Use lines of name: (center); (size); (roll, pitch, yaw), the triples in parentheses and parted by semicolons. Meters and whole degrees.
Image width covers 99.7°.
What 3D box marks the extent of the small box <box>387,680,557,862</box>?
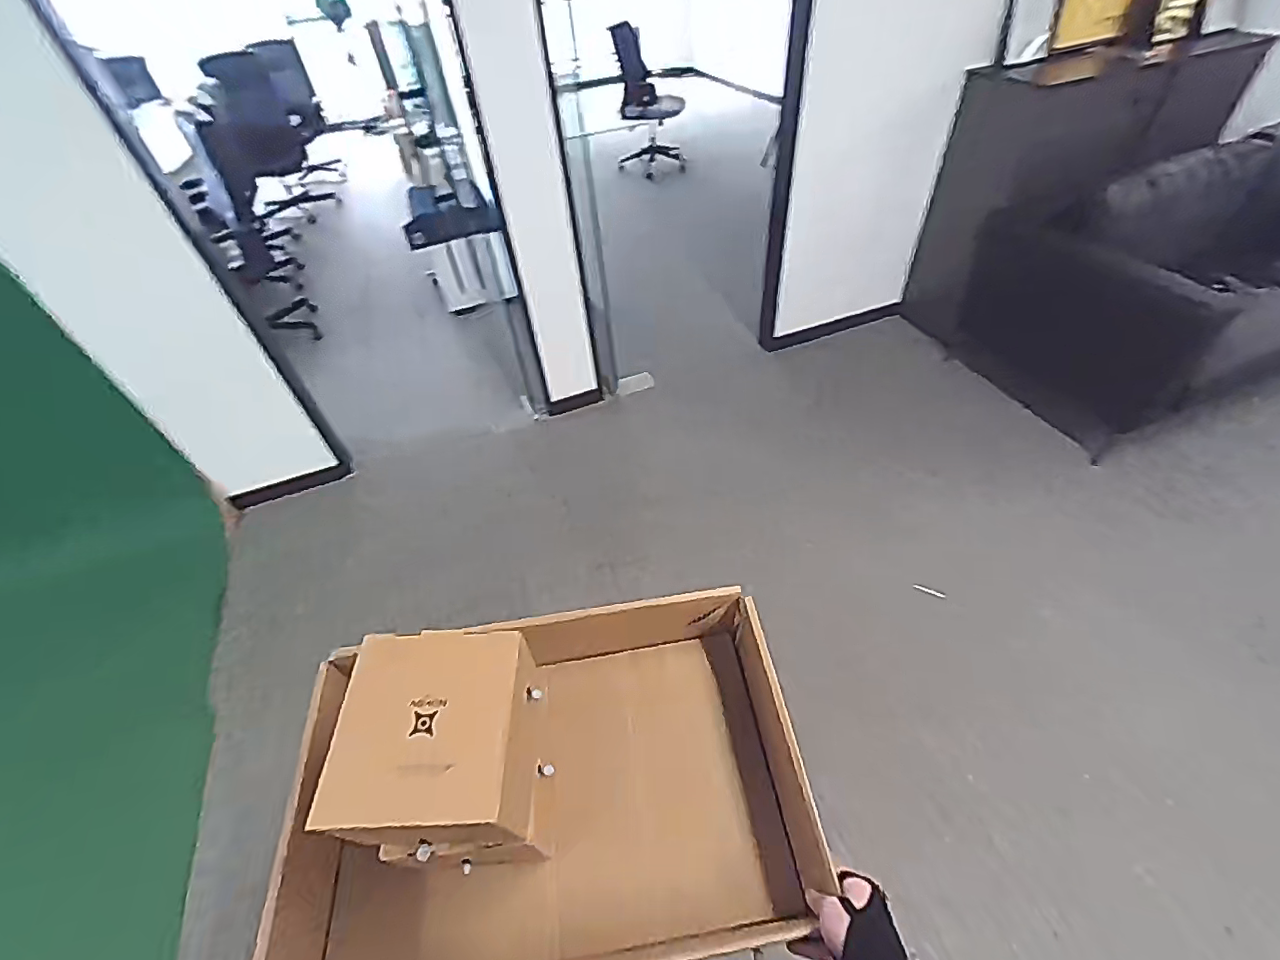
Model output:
small box: (-0.201, 0.379, 0.702); (0.168, 0.176, 0.179); (-3, 52, -3)

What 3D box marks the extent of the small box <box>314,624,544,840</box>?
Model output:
small box: (-0.201, 0.271, 0.579); (0.168, 0.176, 0.179); (0, 51, 0)
